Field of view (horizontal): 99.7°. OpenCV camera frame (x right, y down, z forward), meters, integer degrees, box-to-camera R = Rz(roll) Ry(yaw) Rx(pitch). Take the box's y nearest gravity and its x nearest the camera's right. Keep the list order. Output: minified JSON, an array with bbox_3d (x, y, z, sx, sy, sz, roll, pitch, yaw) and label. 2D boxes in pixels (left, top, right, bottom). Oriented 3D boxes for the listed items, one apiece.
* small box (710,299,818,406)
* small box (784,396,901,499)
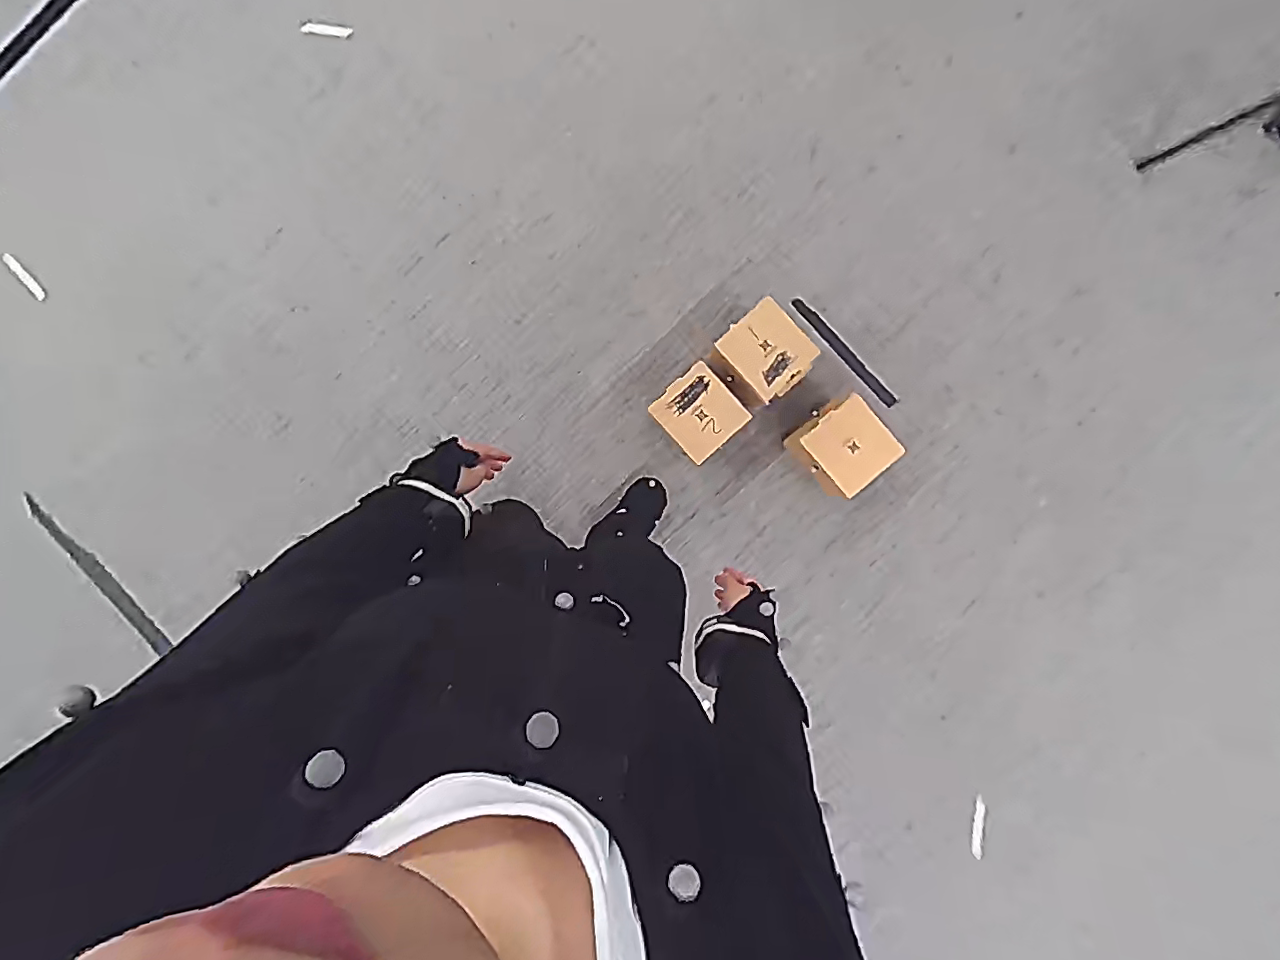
[{"bbox_3d":[0.284,-0.291,1.284,0.168,0.176,0.179,-41,89,3],"label":"small box"},{"bbox_3d":[0.472,-0.077,1.286,0.168,0.176,0.179,-40,90,3],"label":"small box"}]
